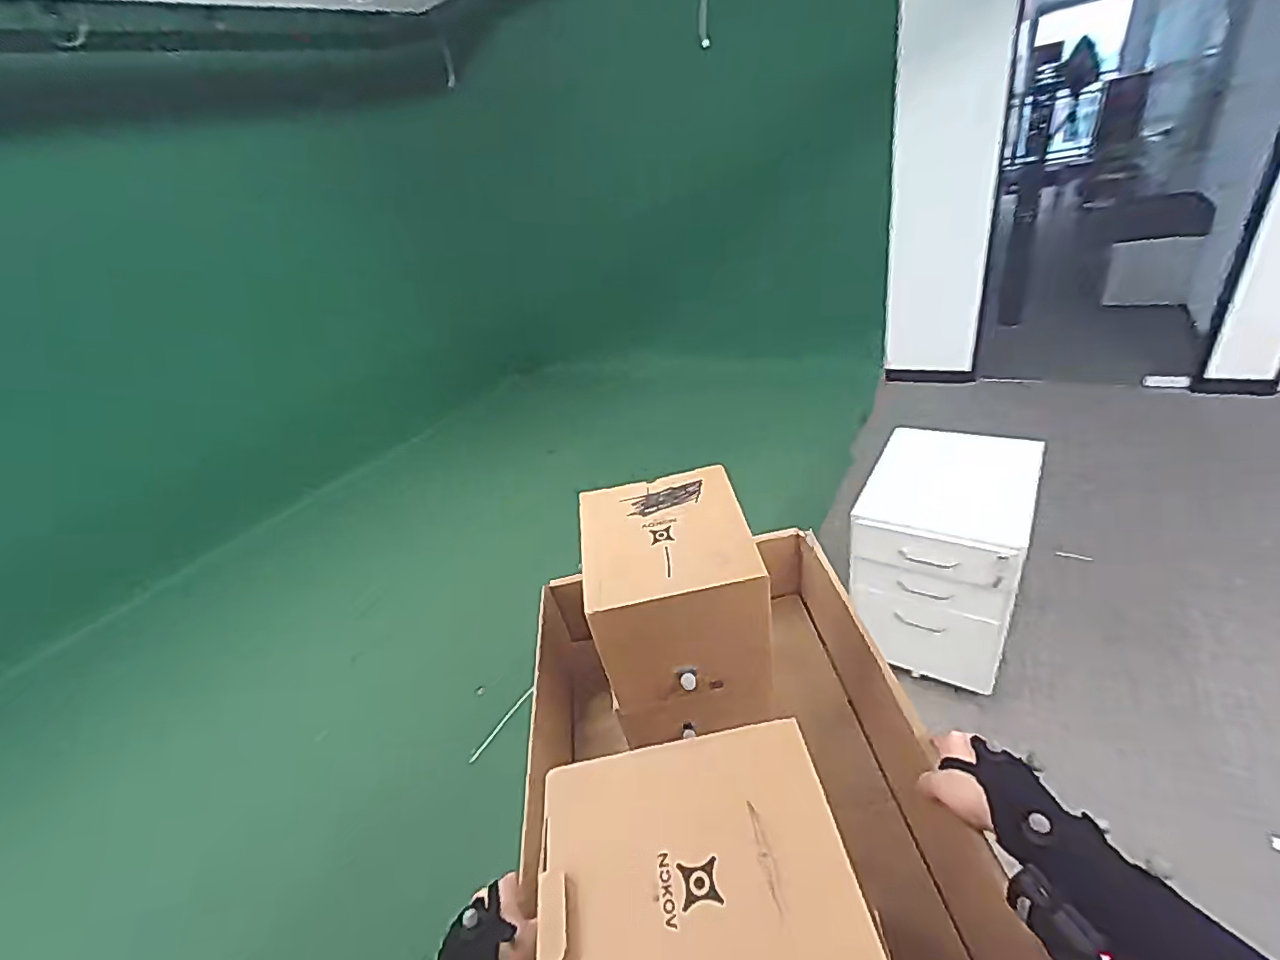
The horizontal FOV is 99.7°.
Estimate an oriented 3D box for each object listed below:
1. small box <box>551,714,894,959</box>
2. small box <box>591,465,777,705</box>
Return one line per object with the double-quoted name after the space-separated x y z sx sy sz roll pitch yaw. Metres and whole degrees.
0.049 0.288 0.354 0.179 0.176 0.168 -11 36 0 "small box"
0.044 0.111 0.589 0.168 0.176 0.179 -12 37 2 "small box"
